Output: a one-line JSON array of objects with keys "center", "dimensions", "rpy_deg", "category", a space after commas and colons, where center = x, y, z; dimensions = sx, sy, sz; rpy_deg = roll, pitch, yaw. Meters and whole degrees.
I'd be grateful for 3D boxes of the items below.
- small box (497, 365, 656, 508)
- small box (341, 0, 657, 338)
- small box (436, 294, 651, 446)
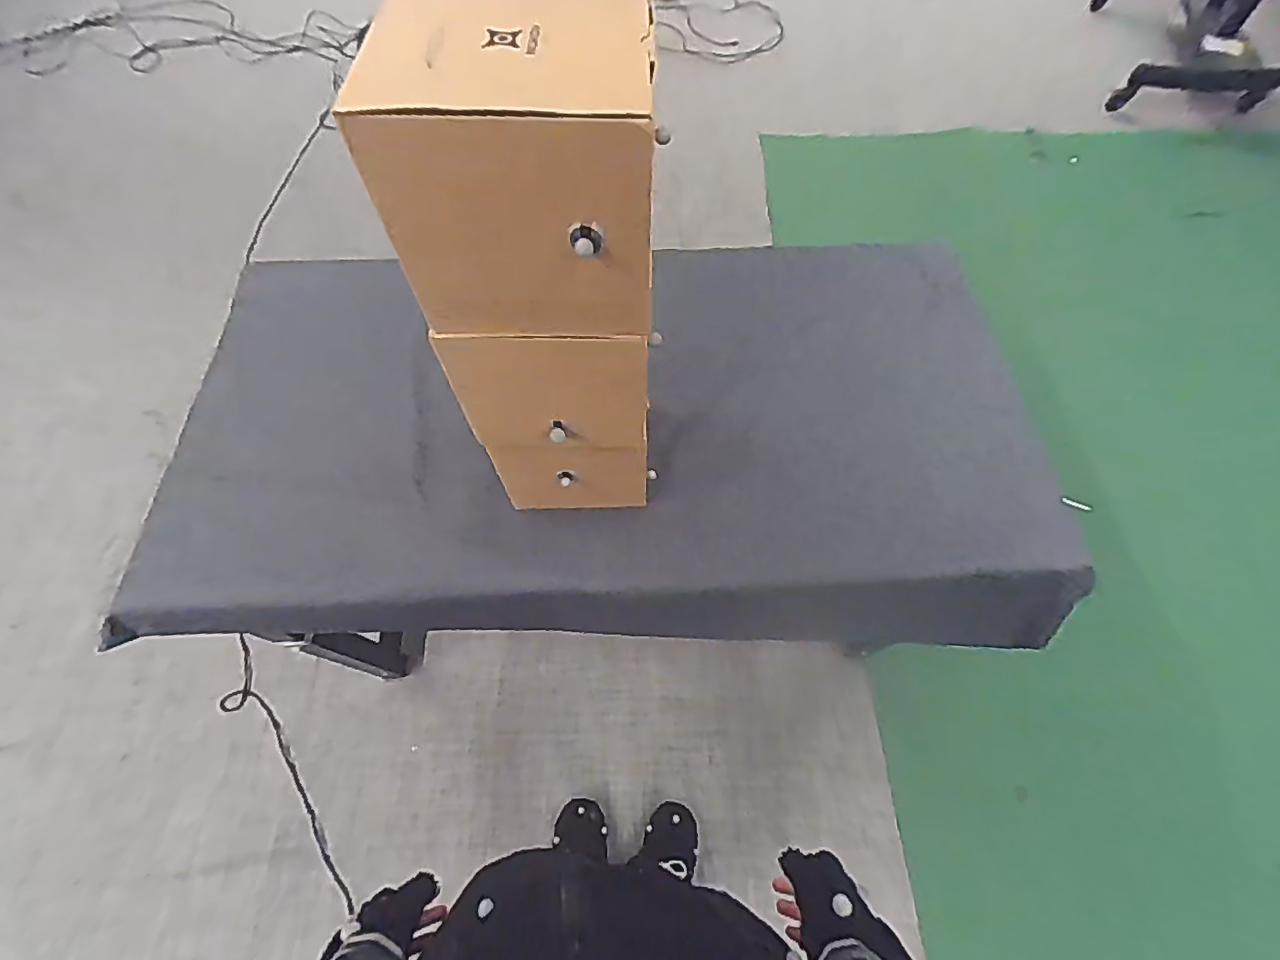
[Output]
[{"center": [-0.077, -0.074, 0.694], "dimensions": [0.179, 0.176, 0.168], "rpy_deg": [-4, 63, -3], "category": "small box"}, {"center": [-0.079, -0.223, 0.404], "dimensions": [0.179, 0.176, 0.168], "rpy_deg": [-1, 61, 0], "category": "small box"}, {"center": [-0.081, -0.145, 0.547], "dimensions": [0.179, 0.176, 0.168], "rpy_deg": [0, 62, -1], "category": "small box"}]
